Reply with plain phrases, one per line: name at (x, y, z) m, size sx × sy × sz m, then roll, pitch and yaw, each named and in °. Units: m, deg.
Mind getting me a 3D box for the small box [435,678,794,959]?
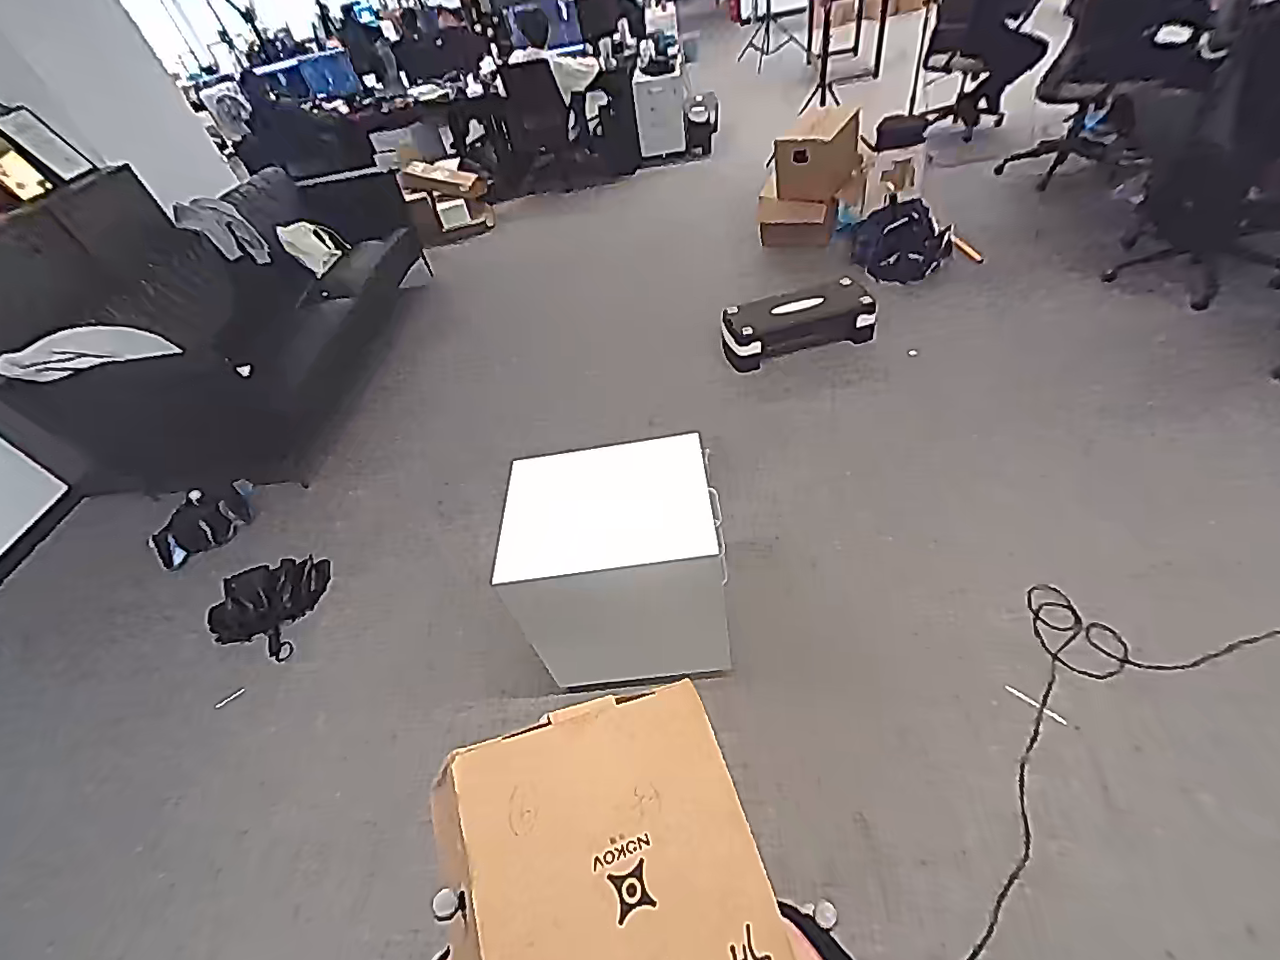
small box at (-0.037, 0.260, 0.366) m, size 0.168 × 0.176 × 0.179 m, roll -5°, pitch 60°, yaw -28°
